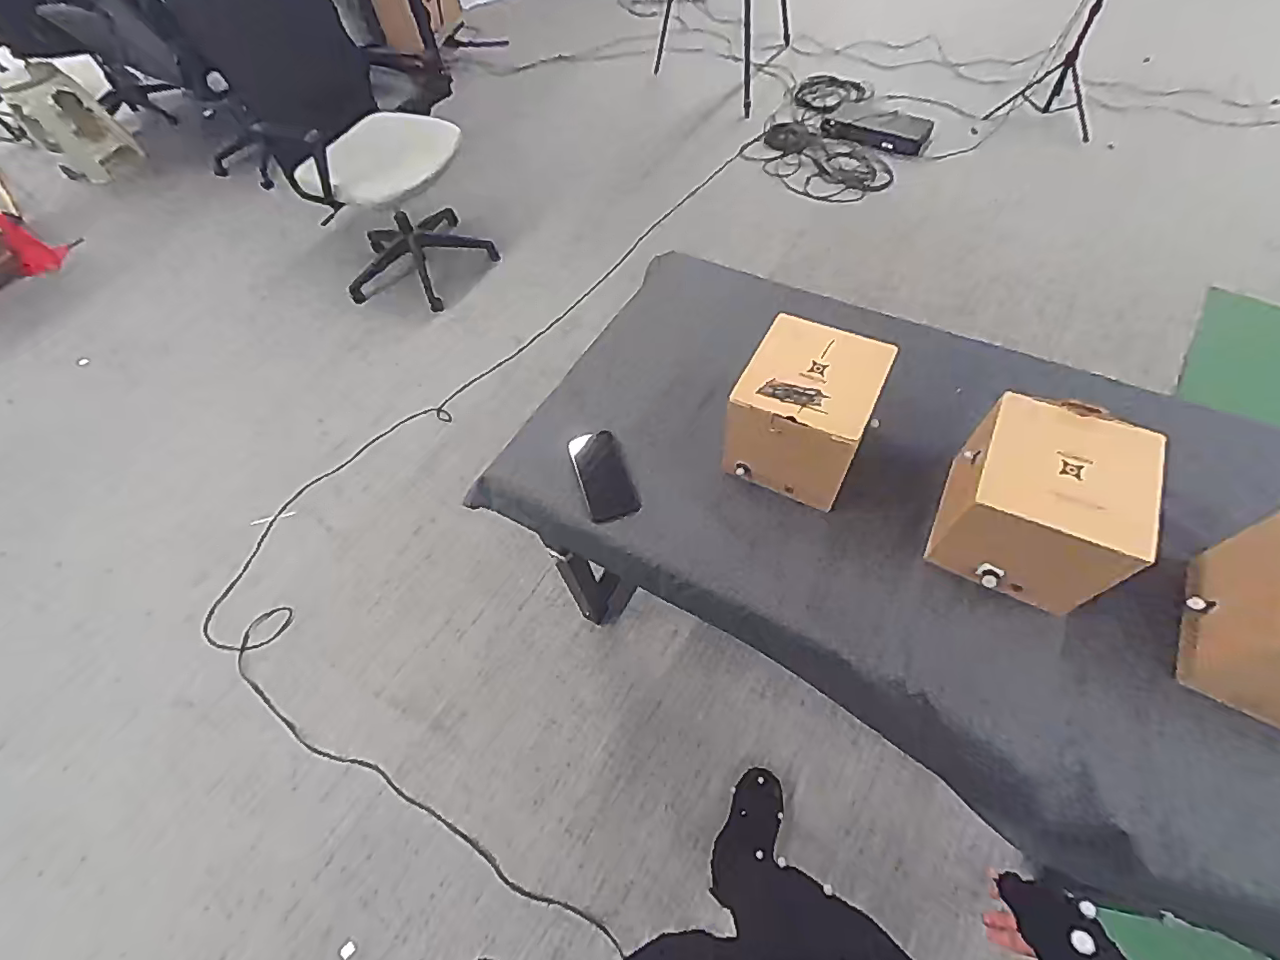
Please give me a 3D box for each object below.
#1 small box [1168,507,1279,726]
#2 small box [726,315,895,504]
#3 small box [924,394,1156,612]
[{"bbox_3d":[0.710,0.157,0.563,0.168,0.176,0.179,26,64,20],"label":"small box"},{"bbox_3d":[0.229,-0.094,0.763,0.168,0.176,0.179,24,62,18],"label":"small box"},{"bbox_3d":[0.477,0.032,0.665,0.168,0.176,0.179,22,63,19],"label":"small box"}]
